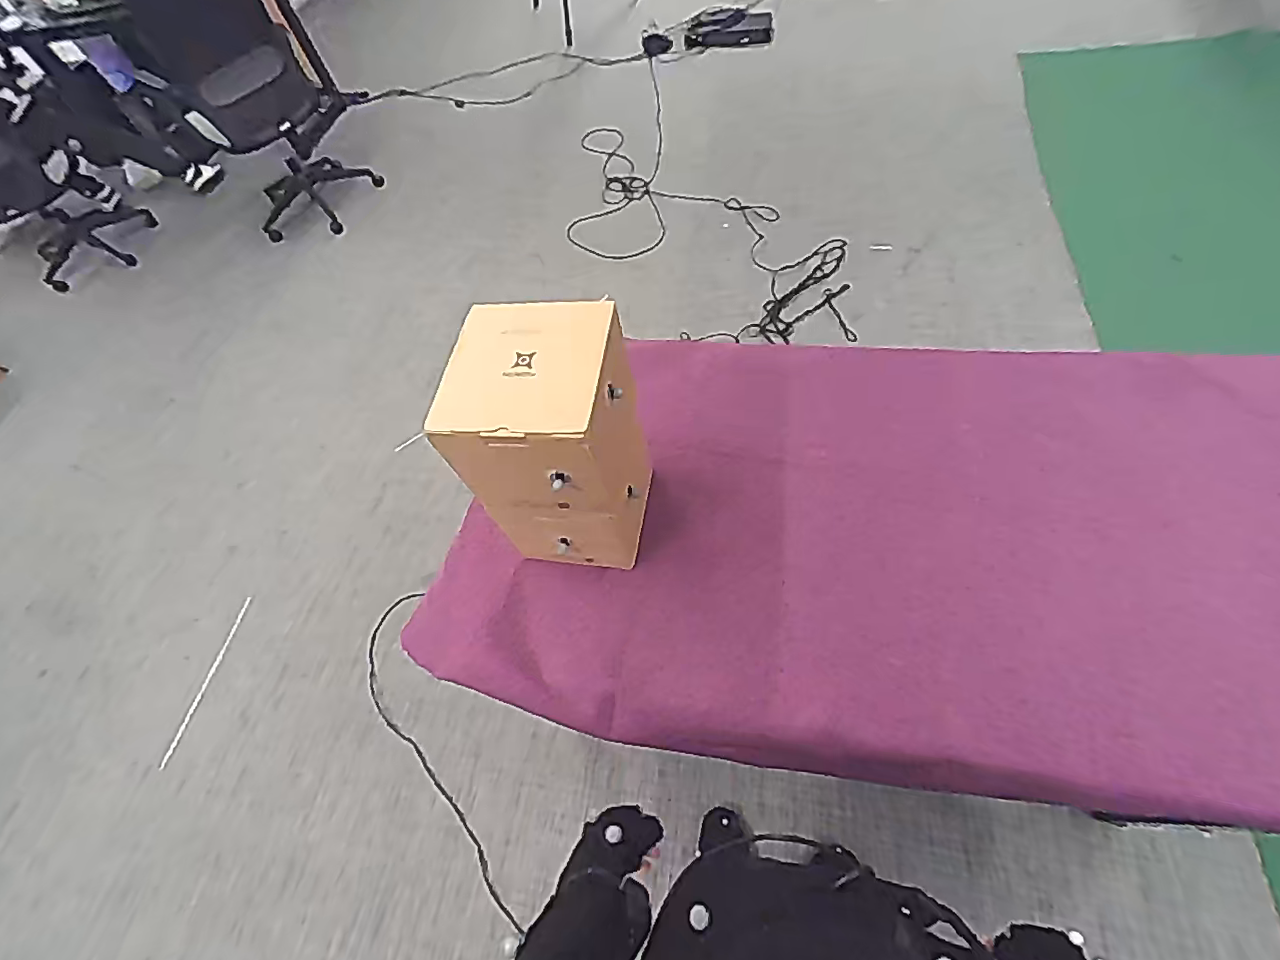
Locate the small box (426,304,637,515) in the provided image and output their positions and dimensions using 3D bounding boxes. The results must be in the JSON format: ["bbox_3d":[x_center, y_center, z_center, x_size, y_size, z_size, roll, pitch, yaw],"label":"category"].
[{"bbox_3d":[-0.104,-0.073,0.611,0.168,0.176,0.179,2,59,11],"label":"small box"}]

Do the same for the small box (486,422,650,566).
[{"bbox_3d":[-0.085,0.007,0.753,0.168,0.176,0.179,4,61,12],"label":"small box"}]
